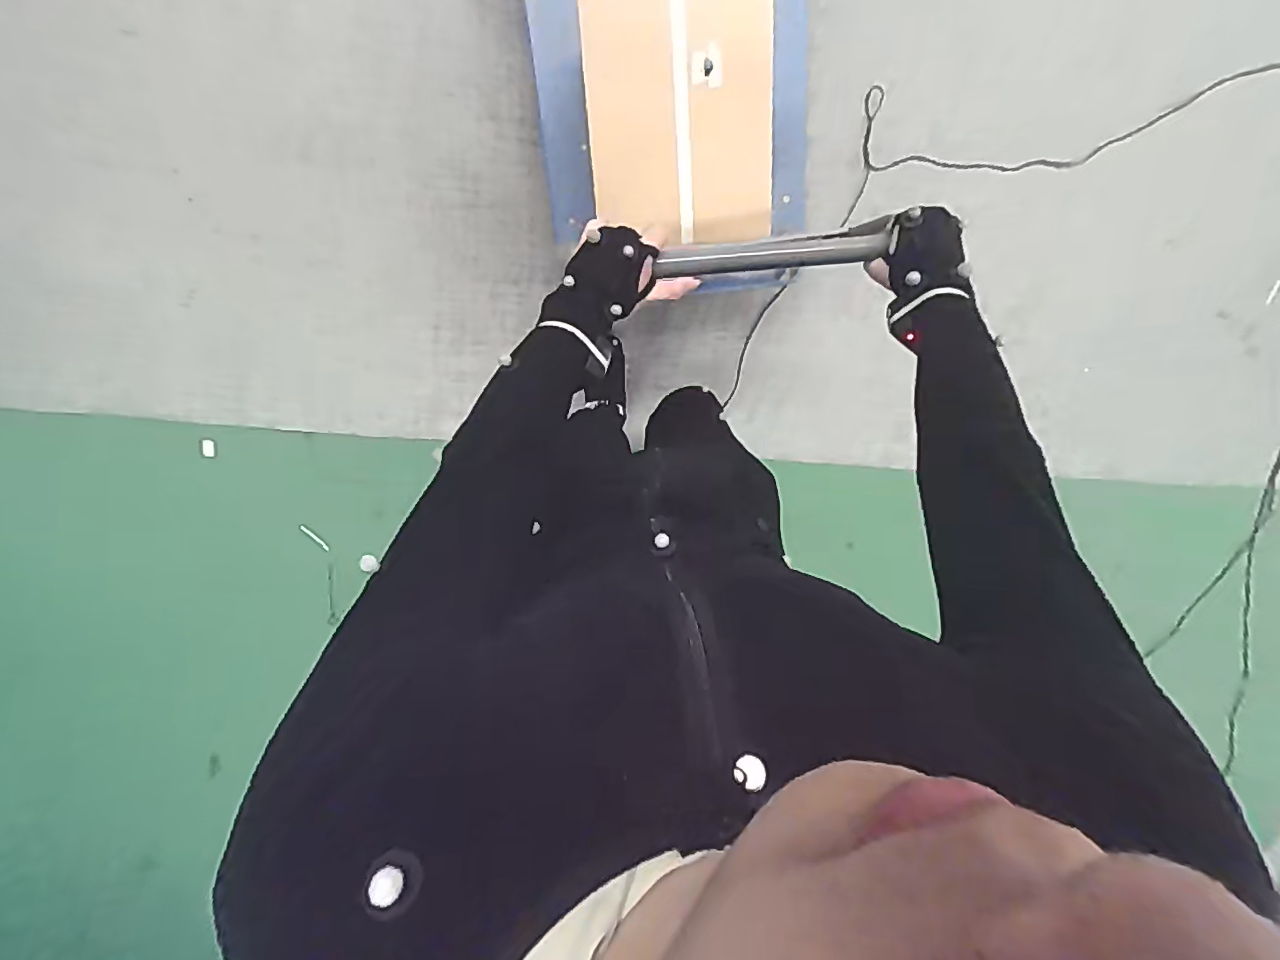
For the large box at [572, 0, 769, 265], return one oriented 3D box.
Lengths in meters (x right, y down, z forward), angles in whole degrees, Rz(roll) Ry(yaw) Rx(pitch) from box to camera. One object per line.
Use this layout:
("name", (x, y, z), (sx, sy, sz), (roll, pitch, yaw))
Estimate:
("large box", (0.056, -0.655, 1.055), (0.320, 0.320, 0.408), (-6, 109, -2))
